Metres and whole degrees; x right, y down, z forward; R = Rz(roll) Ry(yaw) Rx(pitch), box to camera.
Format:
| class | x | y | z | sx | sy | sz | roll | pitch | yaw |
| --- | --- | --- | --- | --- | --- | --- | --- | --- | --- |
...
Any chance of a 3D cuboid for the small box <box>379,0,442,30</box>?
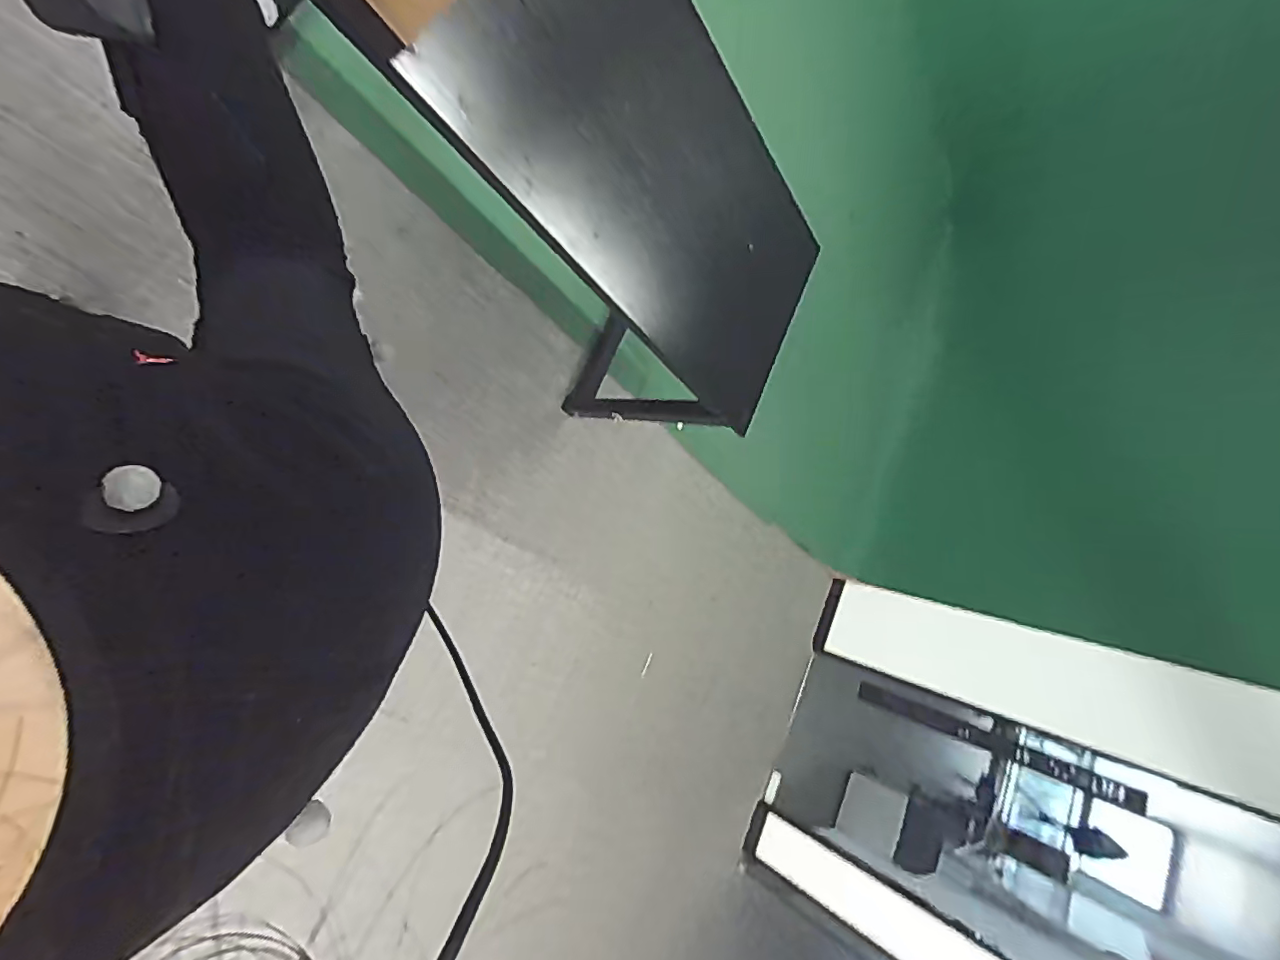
| class | x | y | z | sx | sy | sz | roll | pitch | yaw |
| --- | --- | --- | --- | --- | --- | --- | --- | --- | --- |
| small box | -0.259 | -0.676 | 0.615 | 0.168 | 0.176 | 0.179 | 38 | 71 | -43 |
